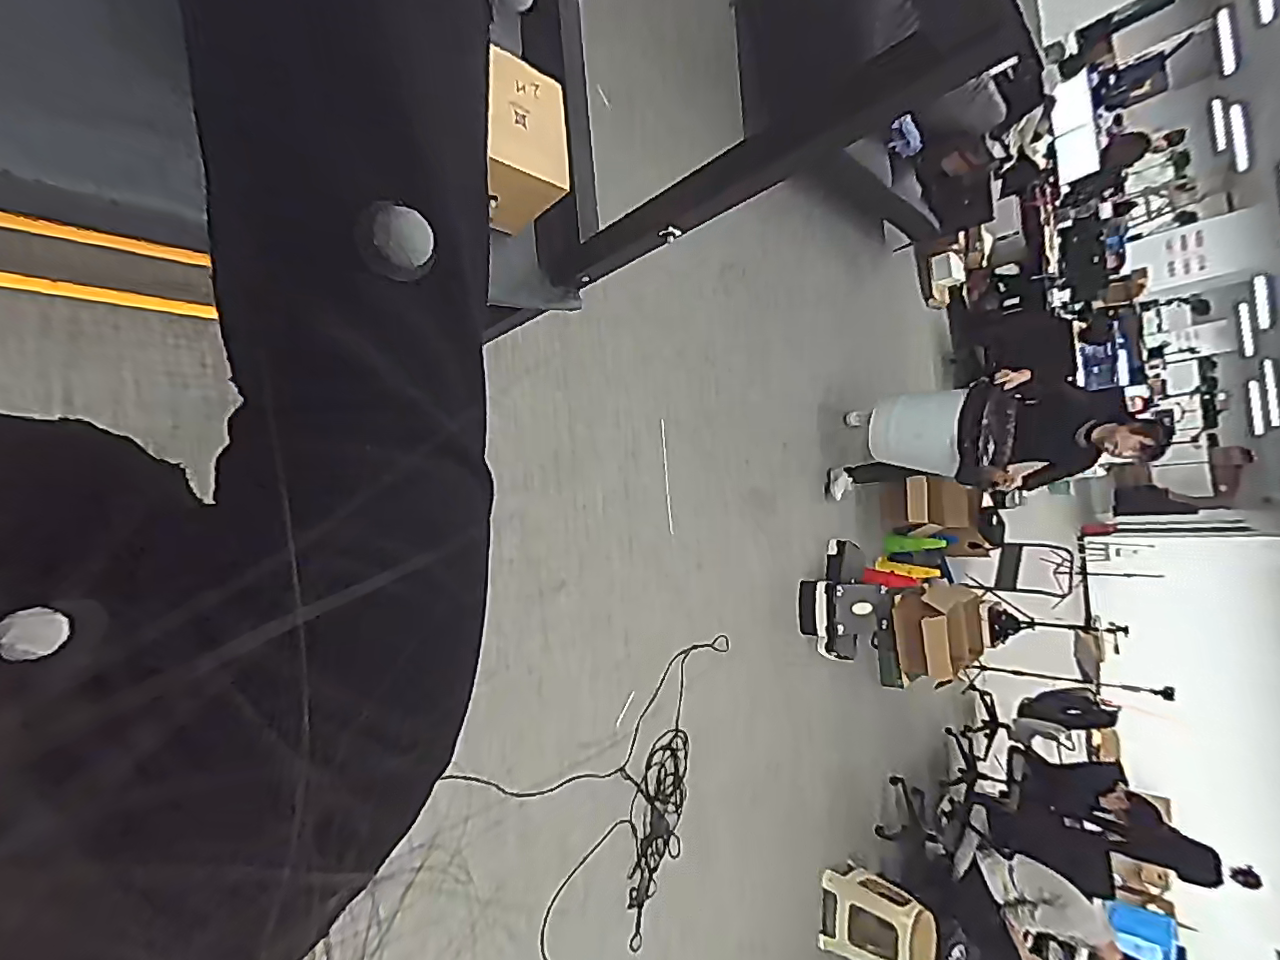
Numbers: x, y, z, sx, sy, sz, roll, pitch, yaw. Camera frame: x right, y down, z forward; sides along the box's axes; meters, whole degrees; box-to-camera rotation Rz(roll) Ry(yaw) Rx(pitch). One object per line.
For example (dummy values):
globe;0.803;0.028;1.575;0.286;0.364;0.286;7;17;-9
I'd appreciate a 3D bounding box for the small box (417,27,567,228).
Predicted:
small box;-0.233;-0.528;0.845;0.168;0.176;0.179;-2;86;-45
